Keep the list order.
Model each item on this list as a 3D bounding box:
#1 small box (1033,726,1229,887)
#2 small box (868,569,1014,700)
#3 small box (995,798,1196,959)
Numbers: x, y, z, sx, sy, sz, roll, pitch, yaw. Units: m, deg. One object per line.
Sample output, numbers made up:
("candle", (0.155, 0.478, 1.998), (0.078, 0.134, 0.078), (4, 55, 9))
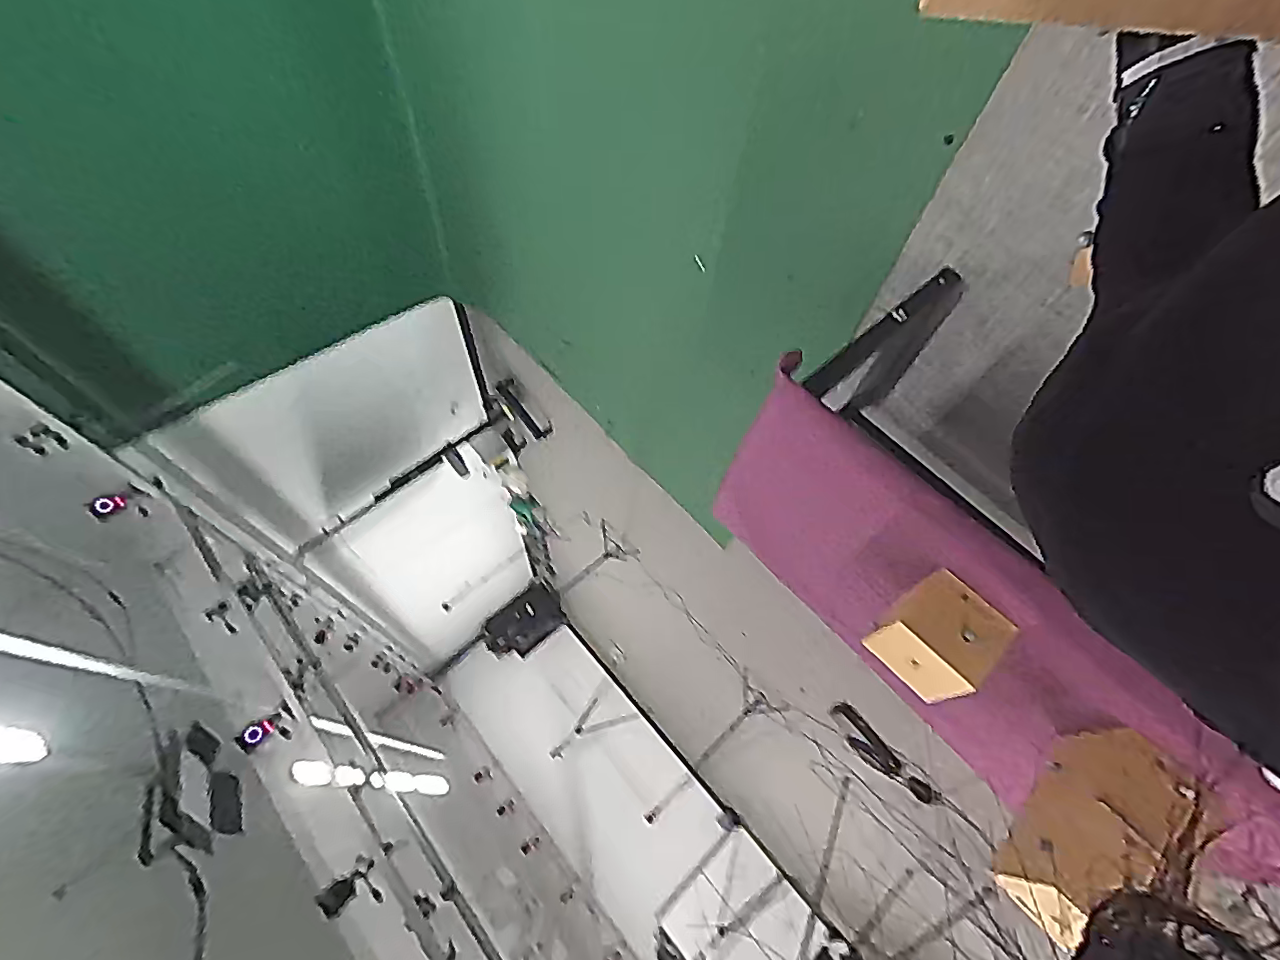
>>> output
("small box", (0.863, 0.566, 0.957), (0.168, 0.176, 0.179), (44, 155, 20))
("small box", (0.601, 0.306, 1.079), (0.168, 0.176, 0.179), (44, 157, 20))
("small box", (0.744, 0.652, 0.885), (0.168, 0.176, 0.179), (45, 155, 18))
